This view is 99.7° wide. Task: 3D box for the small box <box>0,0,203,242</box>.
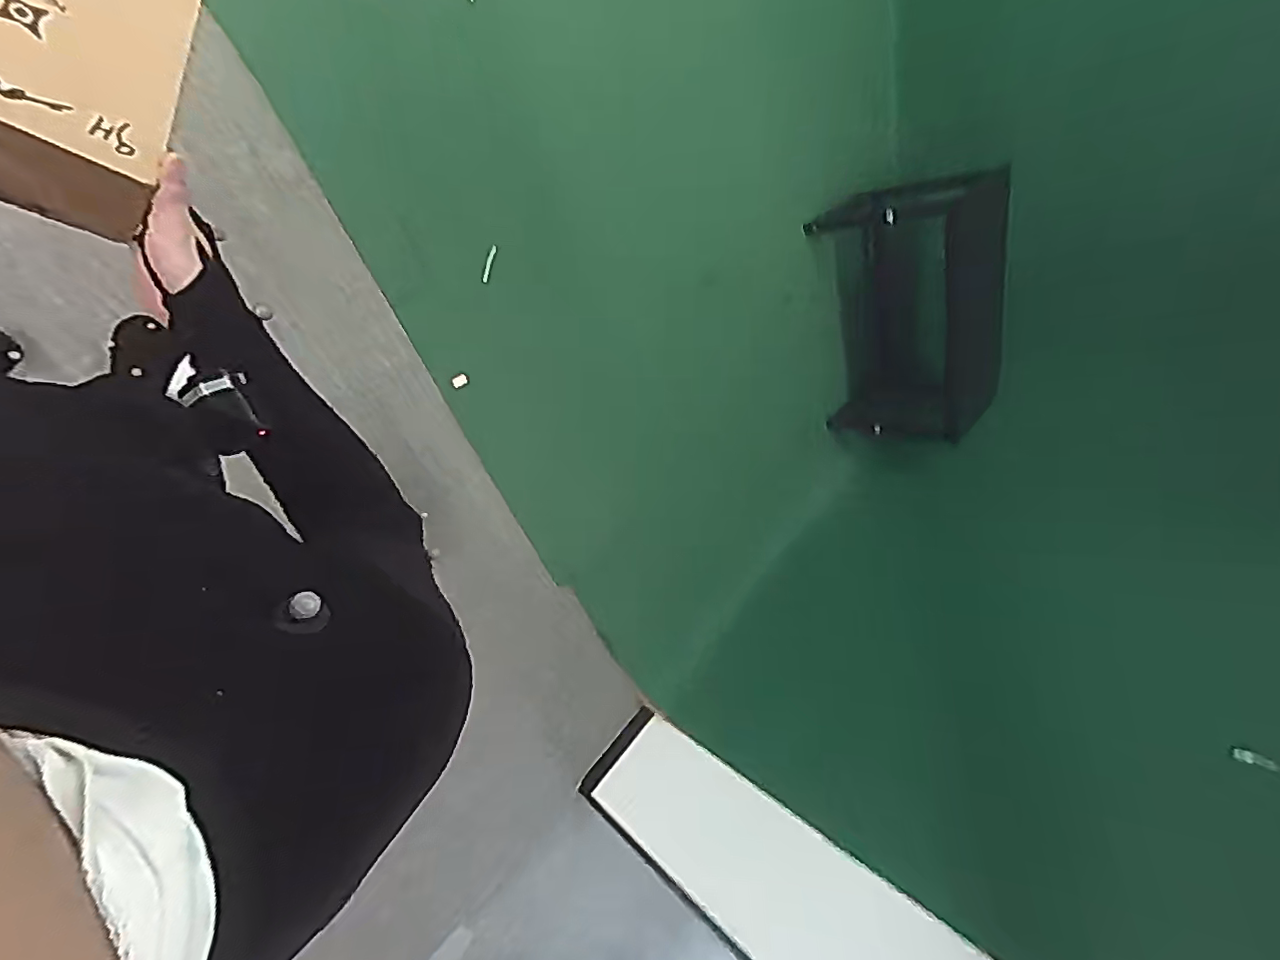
[{"bbox_3d":[-0.483,-0.322,0.427,0.168,0.176,0.179,13,83,-49],"label":"small box"}]
